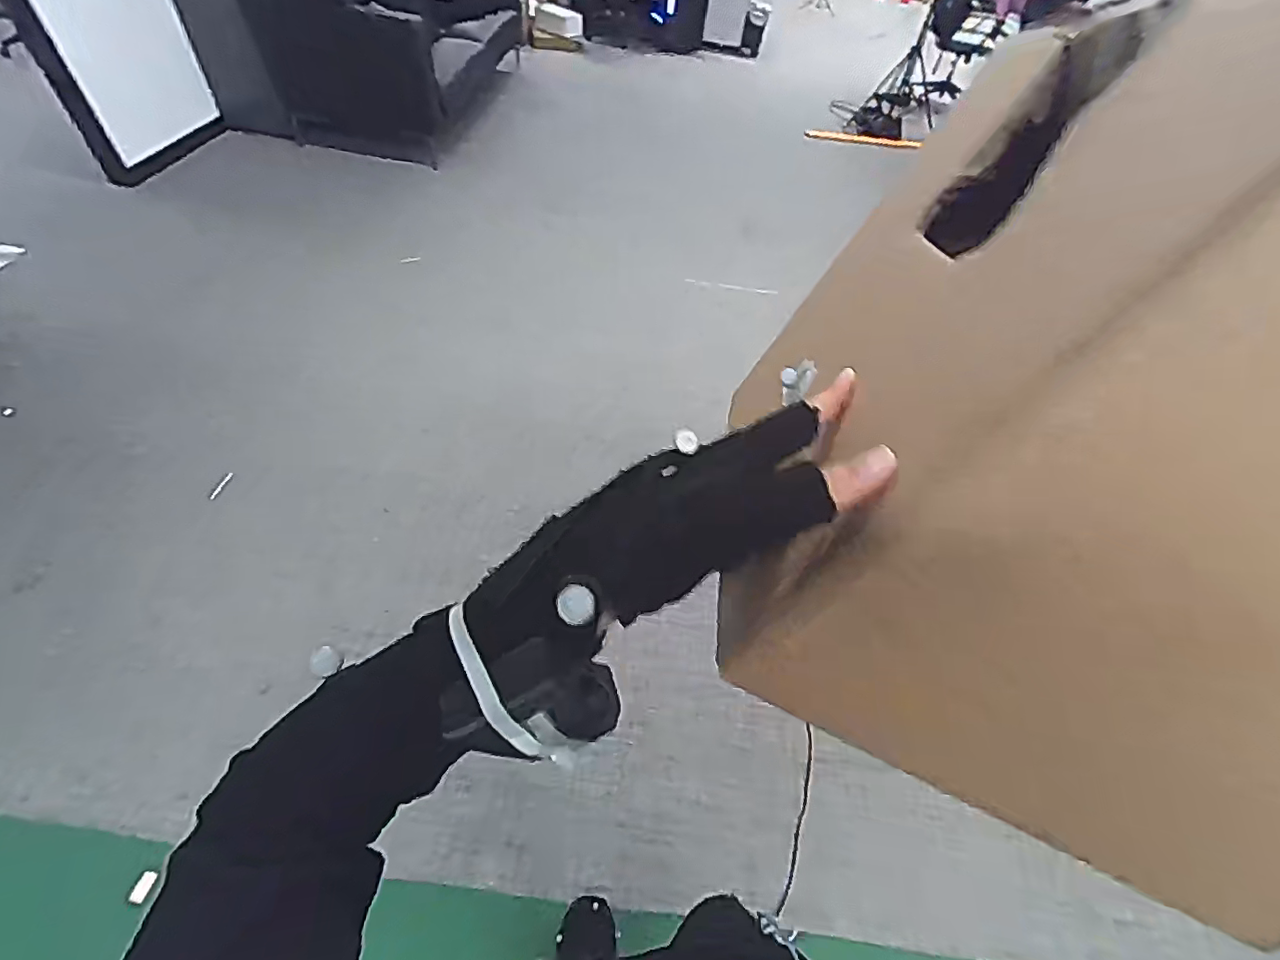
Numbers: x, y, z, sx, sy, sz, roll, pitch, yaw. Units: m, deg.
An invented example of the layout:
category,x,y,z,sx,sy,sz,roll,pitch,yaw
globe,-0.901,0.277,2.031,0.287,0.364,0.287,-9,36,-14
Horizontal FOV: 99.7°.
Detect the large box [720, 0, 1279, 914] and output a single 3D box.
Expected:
category,x,y,z,sx,sy,sz,roll,pitch,yaw
large box,0.301,0.001,0.350,0.408,0.320,0.320,30,36,-9
